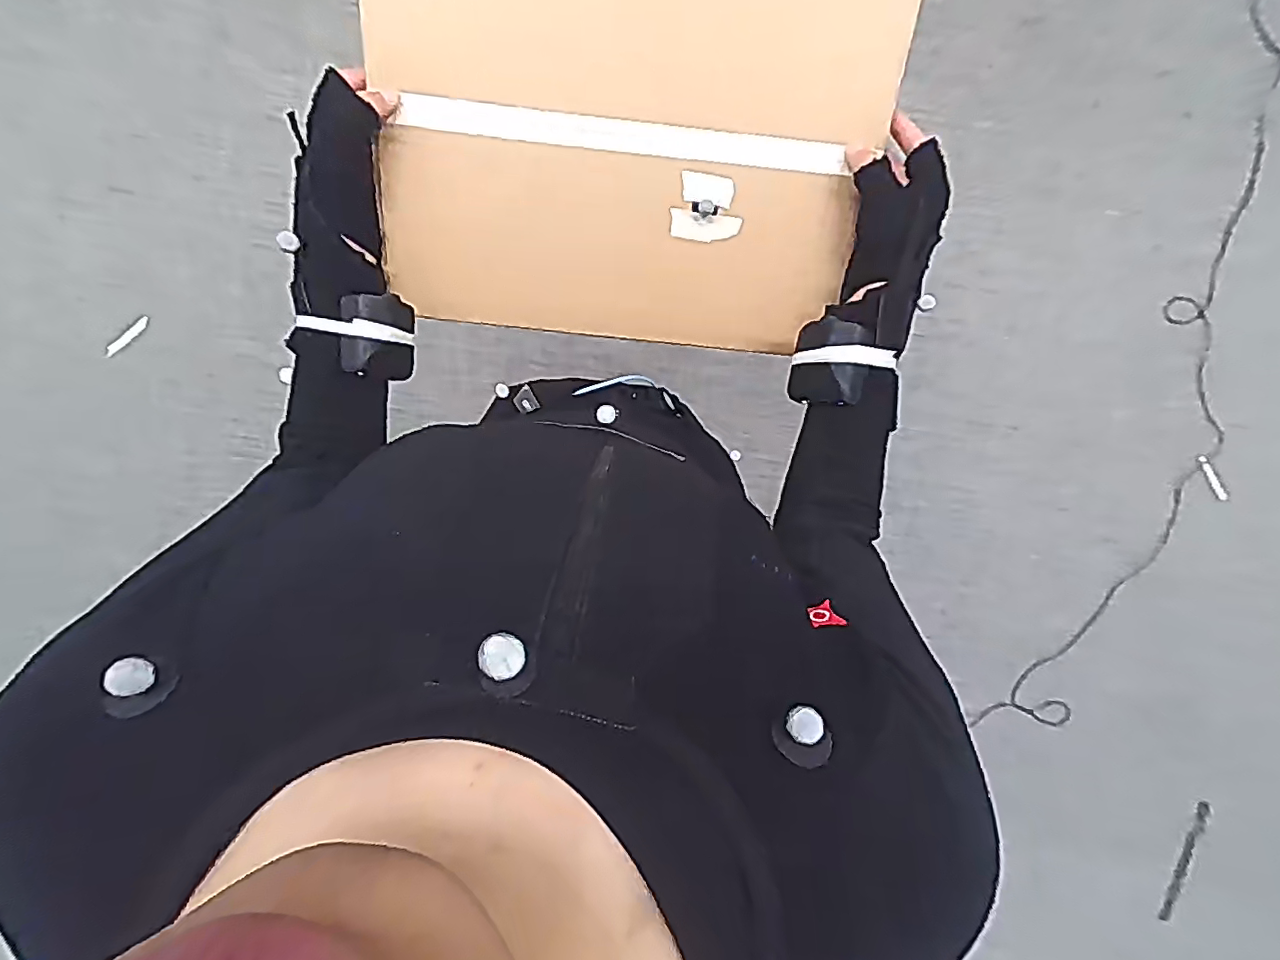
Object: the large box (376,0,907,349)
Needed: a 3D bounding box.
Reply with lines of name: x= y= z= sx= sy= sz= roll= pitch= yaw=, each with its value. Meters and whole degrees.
large box: x=-0.010 y=-0.335 z=0.578 sx=0.408 sy=0.320 sz=0.320 roll=5 pitch=114 yaw=-4
